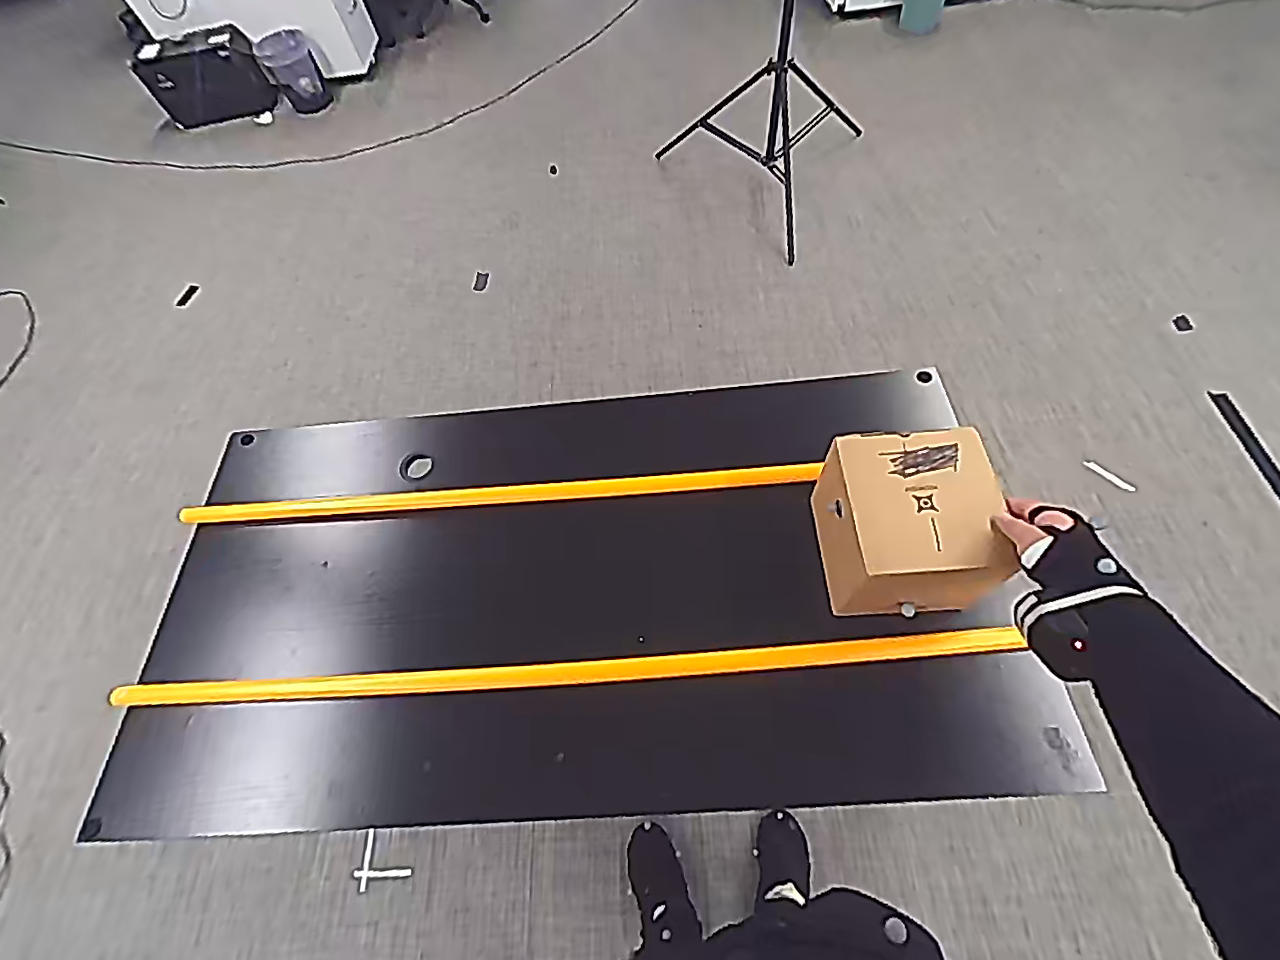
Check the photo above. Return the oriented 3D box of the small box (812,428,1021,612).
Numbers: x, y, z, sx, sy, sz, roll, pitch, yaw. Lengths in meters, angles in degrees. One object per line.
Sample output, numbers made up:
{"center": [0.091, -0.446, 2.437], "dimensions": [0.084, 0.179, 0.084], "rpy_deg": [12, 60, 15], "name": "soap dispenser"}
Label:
{"center": [0.324, 0.056, 0.681], "dimensions": [0.168, 0.176, 0.179], "rpy_deg": [-4, 61, 5], "name": "small box"}
